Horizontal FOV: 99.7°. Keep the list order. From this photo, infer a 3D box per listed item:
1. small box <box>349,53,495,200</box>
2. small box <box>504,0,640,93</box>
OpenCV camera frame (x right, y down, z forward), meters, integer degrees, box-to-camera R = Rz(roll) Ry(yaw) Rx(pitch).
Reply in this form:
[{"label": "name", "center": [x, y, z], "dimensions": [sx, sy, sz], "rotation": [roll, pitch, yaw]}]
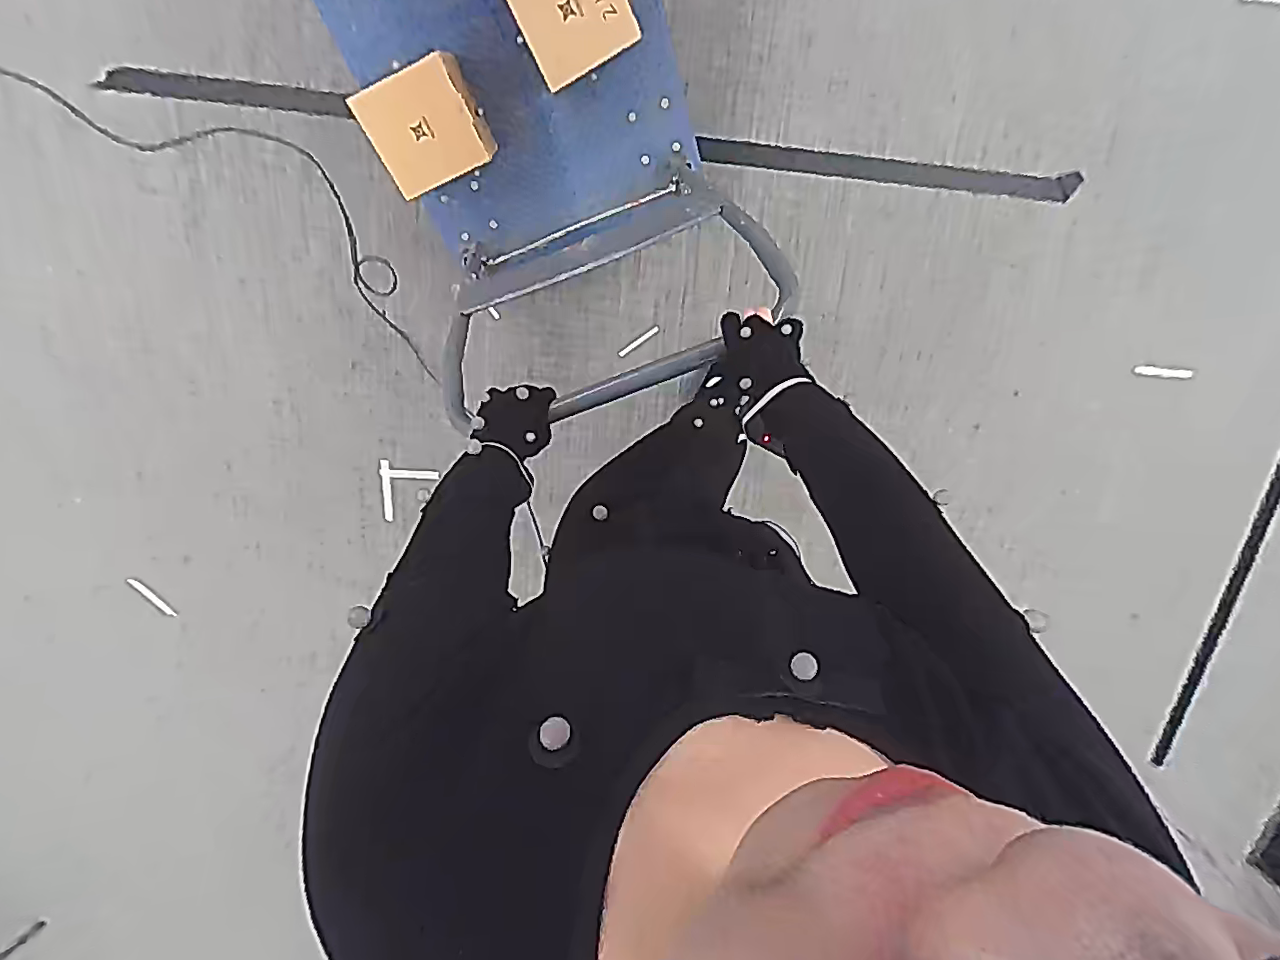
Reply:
[{"label": "small box", "center": [-0.383, -0.641, 0.988], "dimensions": [0.179, 0.176, 0.168], "rotation": [-23, 126, 6]}, {"label": "small box", "center": [-0.118, -0.791, 0.918], "dimensions": [0.179, 0.176, 0.168], "rotation": [-25, 126, 10]}]
